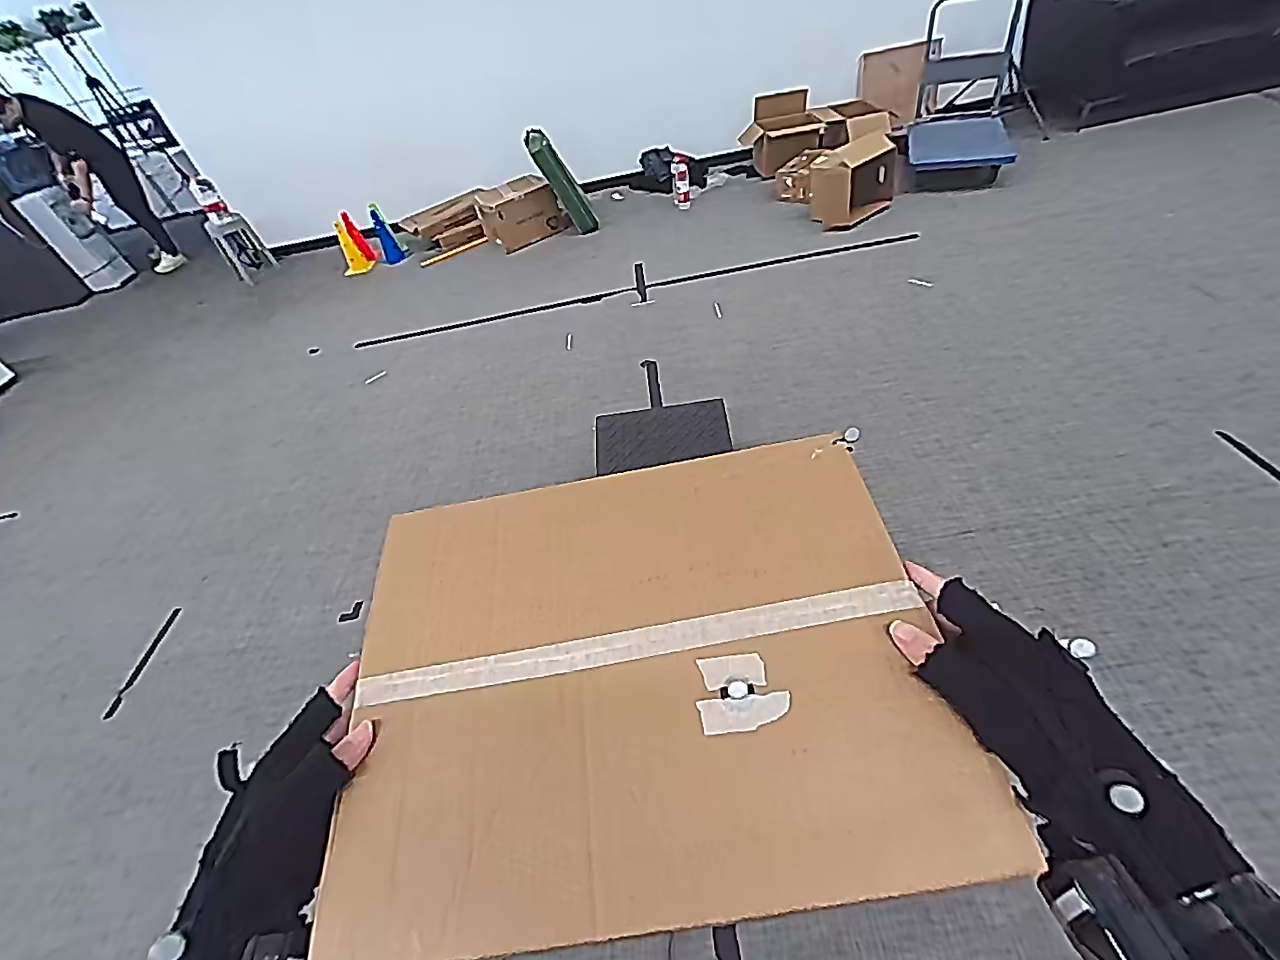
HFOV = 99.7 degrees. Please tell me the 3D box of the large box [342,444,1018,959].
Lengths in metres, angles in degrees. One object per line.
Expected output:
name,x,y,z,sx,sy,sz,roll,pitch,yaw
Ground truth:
large box,0.020,0.213,0.514,0.408,0.320,0.320,-10,53,2
